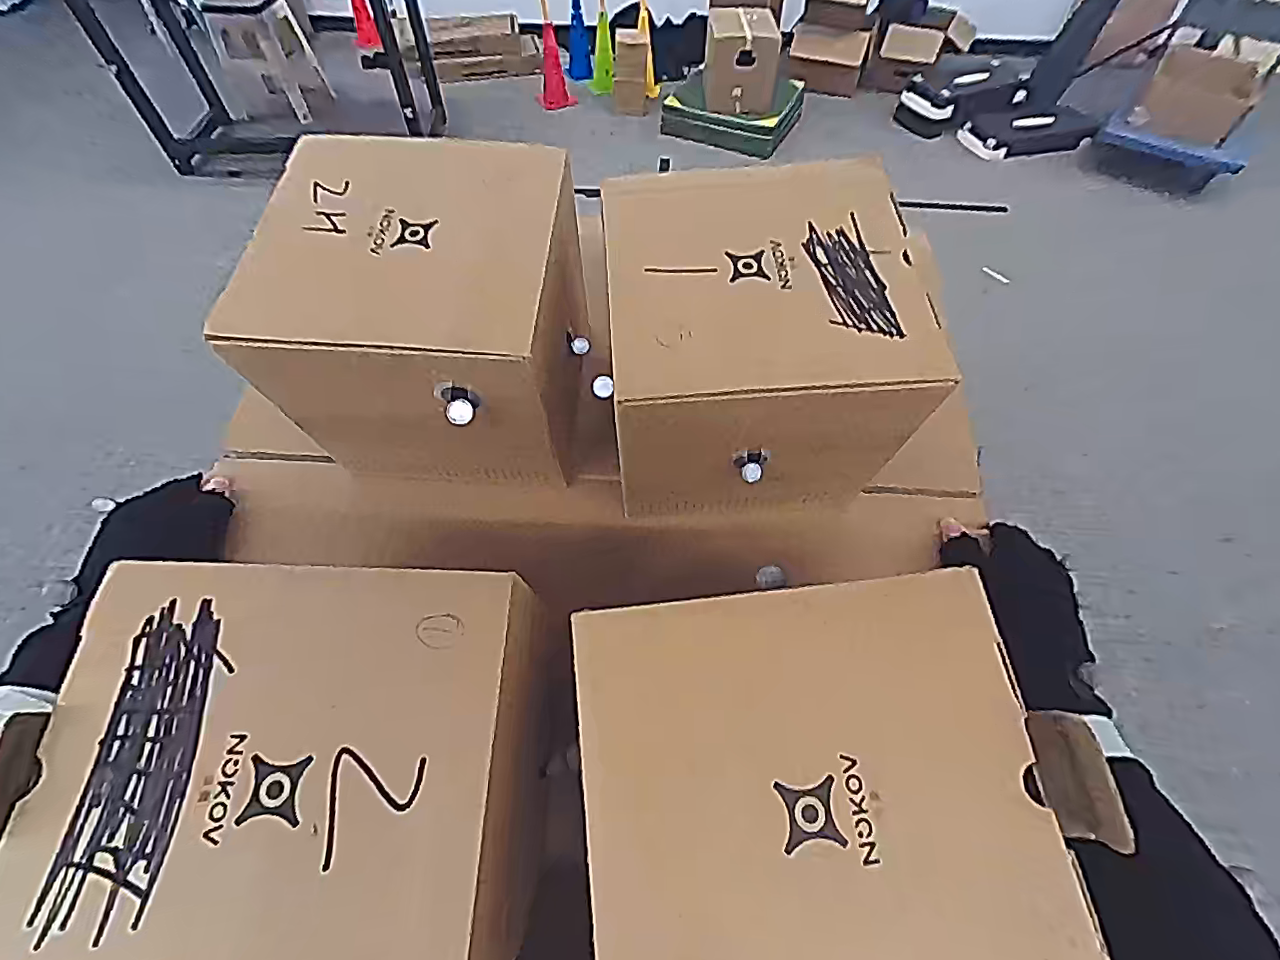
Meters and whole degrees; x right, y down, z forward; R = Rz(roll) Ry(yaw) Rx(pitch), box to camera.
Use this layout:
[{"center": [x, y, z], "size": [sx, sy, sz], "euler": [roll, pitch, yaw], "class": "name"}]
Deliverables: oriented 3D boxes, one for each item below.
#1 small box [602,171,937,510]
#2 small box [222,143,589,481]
[{"center": [0.067, -0.086, 0.385], "size": [0.179, 0.176, 0.168], "euler": [-4, 65, 0], "class": "small box"}, {"center": [-0.136, -0.109, 0.398], "size": [0.179, 0.176, 0.168], "euler": [4, 65, 2], "class": "small box"}]
